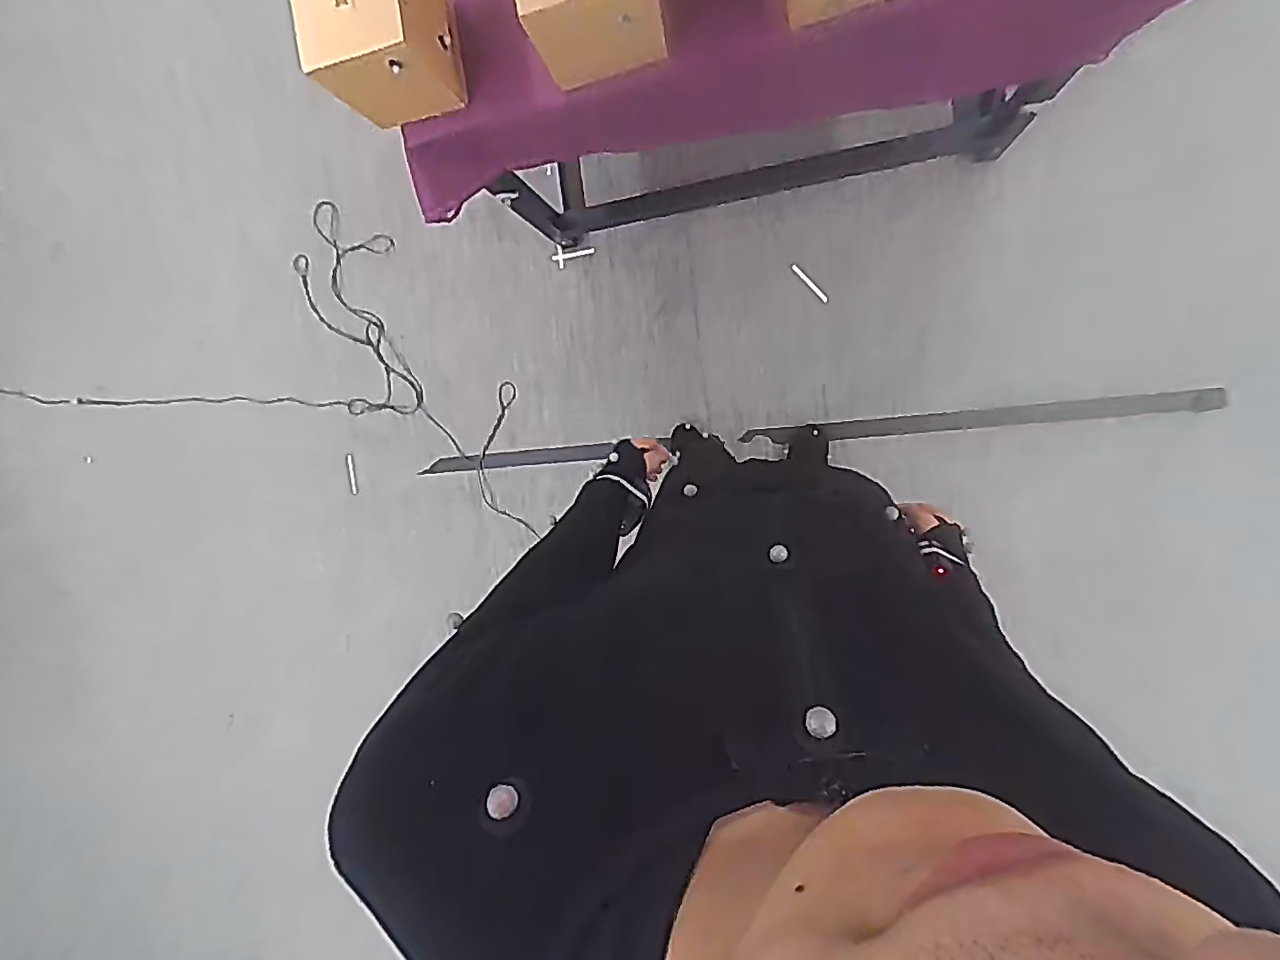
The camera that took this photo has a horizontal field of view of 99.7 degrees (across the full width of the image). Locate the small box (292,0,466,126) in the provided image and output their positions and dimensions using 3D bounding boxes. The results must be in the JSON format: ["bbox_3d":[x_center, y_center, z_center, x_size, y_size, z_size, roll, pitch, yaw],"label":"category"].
[{"bbox_3d":[-0.400,-0.690,0.841,0.179,0.176,0.168,-6,95,13],"label":"small box"}]

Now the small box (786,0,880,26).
[{"bbox_3d":[0.262,-0.740,0.679,0.168,0.176,0.179,-9,96,15],"label":"small box"}]
